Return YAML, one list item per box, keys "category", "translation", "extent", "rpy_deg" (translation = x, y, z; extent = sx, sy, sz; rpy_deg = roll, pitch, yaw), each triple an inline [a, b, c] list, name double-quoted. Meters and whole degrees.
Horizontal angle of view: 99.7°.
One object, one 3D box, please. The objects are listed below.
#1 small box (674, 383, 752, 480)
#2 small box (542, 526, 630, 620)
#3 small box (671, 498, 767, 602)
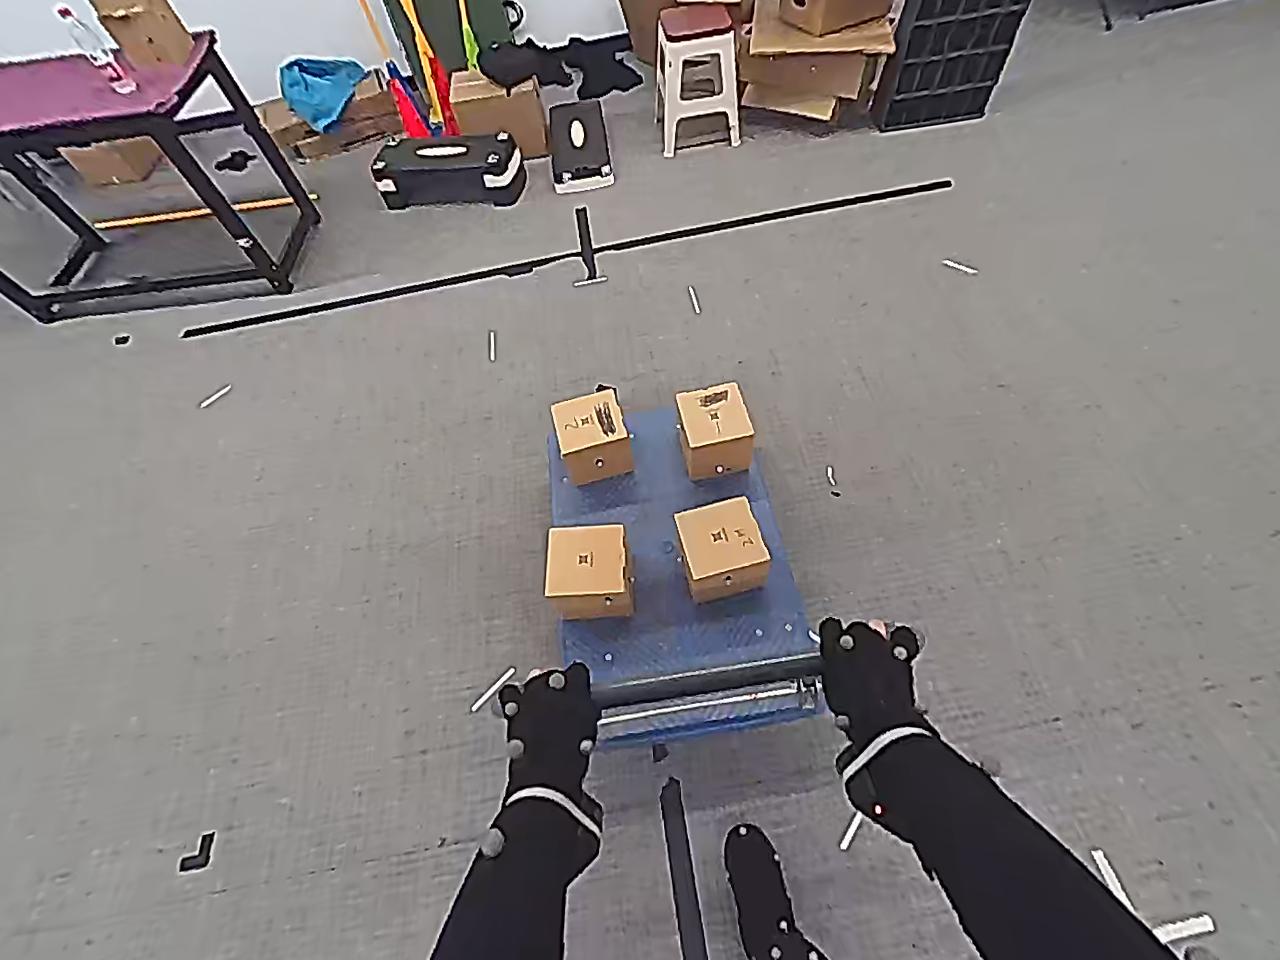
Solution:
- category: "small box"
  translation: [0.188, -0.125, 1.428]
  extent: [0.168, 0.176, 0.179]
  rpy_deg: [-12, 60, -1]
- category: "small box"
  translation: [-0.119, 0.221, 1.259]
  extent: [0.179, 0.176, 0.168]
  rpy_deg: [-4, 59, 2]
- category: "small box"
  translation: [0.181, 0.168, 1.256]
  extent: [0.179, 0.176, 0.168]
  rpy_deg: [-15, 59, -2]
